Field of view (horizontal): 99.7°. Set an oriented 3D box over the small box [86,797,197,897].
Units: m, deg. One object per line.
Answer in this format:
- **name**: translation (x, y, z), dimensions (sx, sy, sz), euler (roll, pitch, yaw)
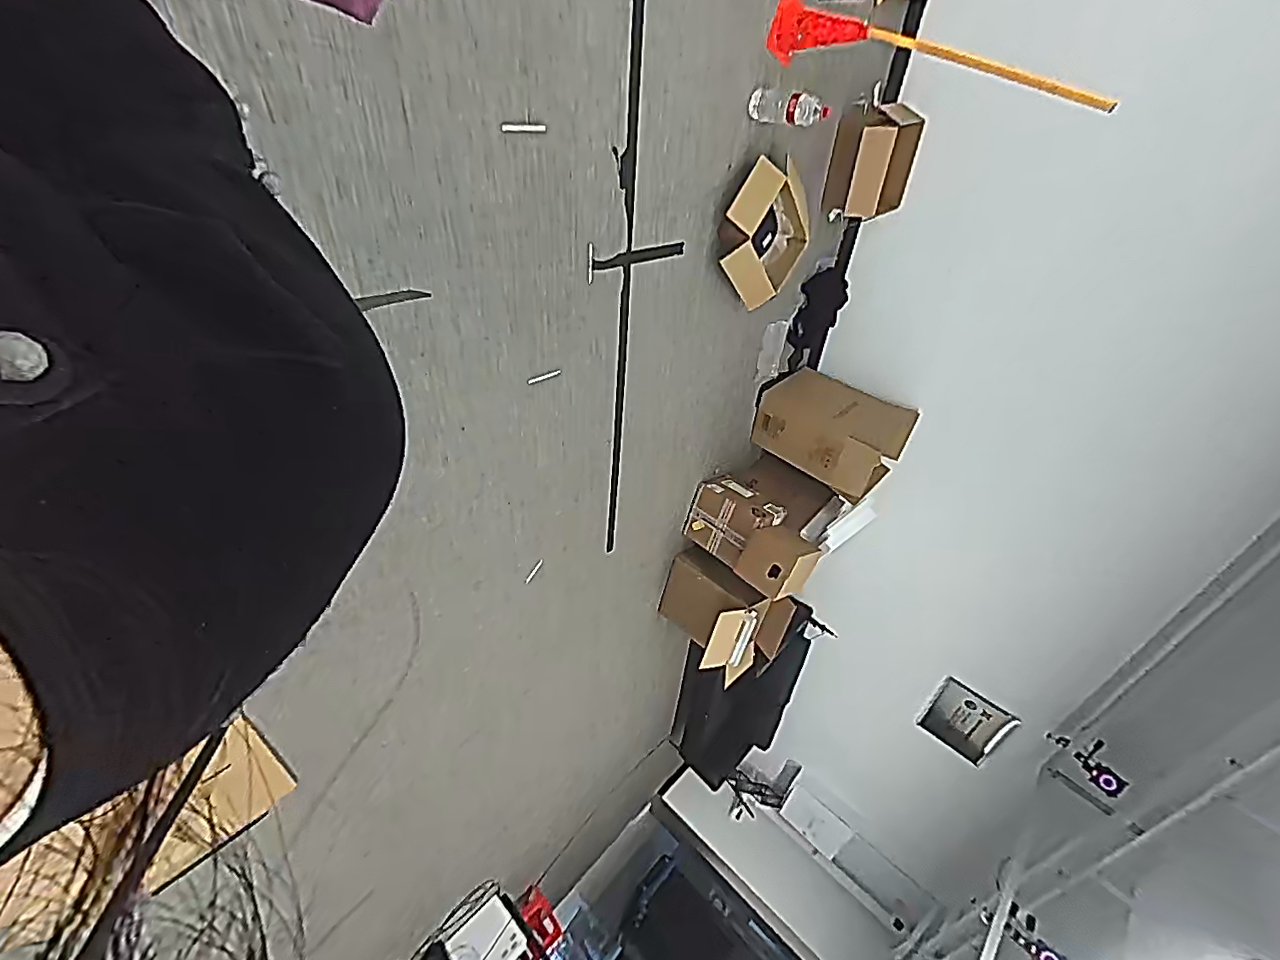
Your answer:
- **small box**: translation (-1.487, 1.091, 1.616), dimensions (0.168, 0.176, 0.179), euler (-39, 144, -31)
